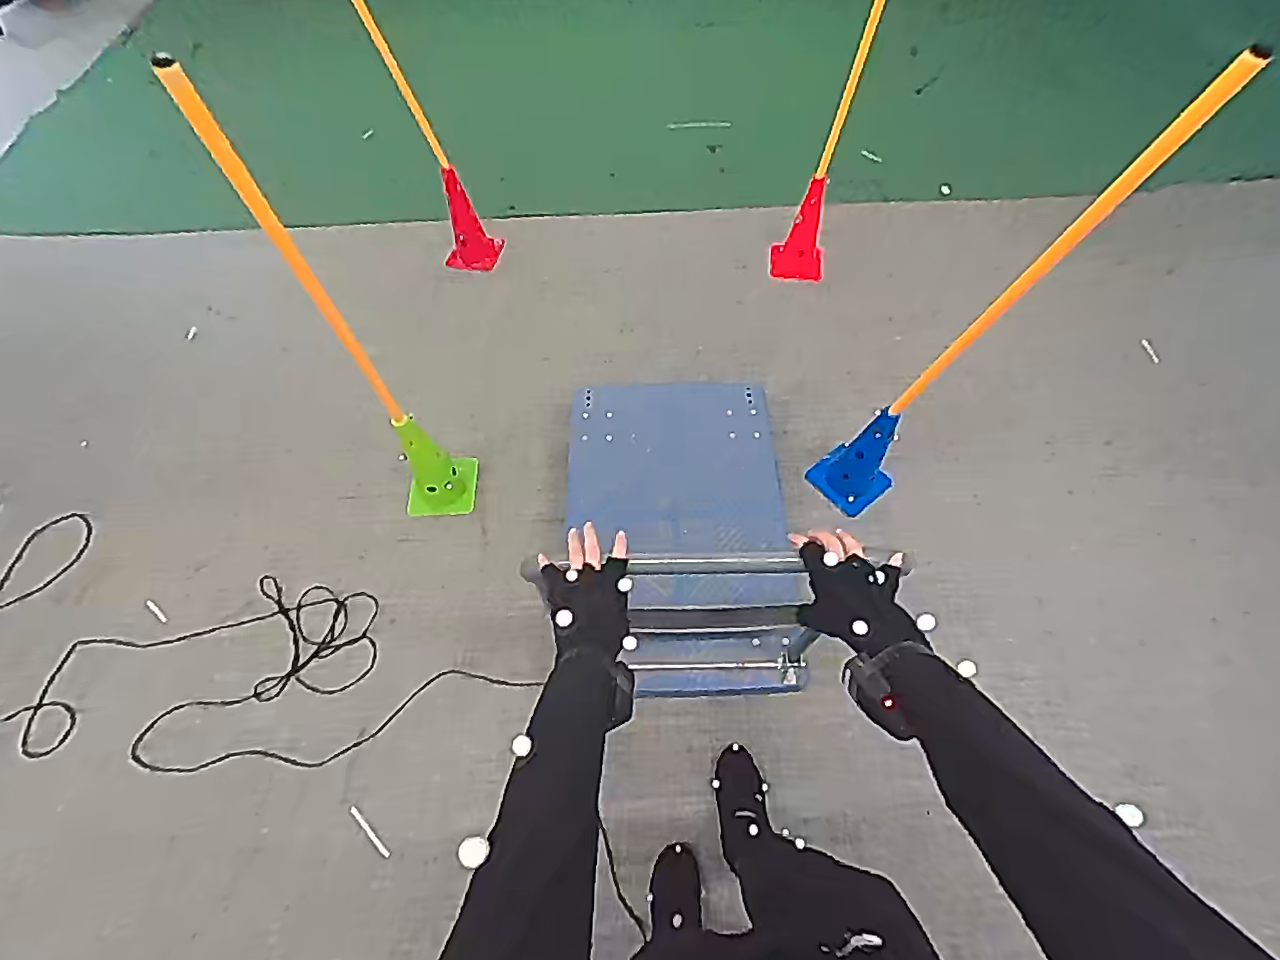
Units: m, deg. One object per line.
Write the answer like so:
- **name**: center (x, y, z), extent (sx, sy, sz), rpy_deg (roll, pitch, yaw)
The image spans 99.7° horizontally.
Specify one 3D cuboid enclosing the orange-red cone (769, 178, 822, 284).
- **orange-red cone**: center (0.610, -0.934, 1.998), extent (0.198, 0.360, 0.199), rpy_deg (7, 62, 6)
